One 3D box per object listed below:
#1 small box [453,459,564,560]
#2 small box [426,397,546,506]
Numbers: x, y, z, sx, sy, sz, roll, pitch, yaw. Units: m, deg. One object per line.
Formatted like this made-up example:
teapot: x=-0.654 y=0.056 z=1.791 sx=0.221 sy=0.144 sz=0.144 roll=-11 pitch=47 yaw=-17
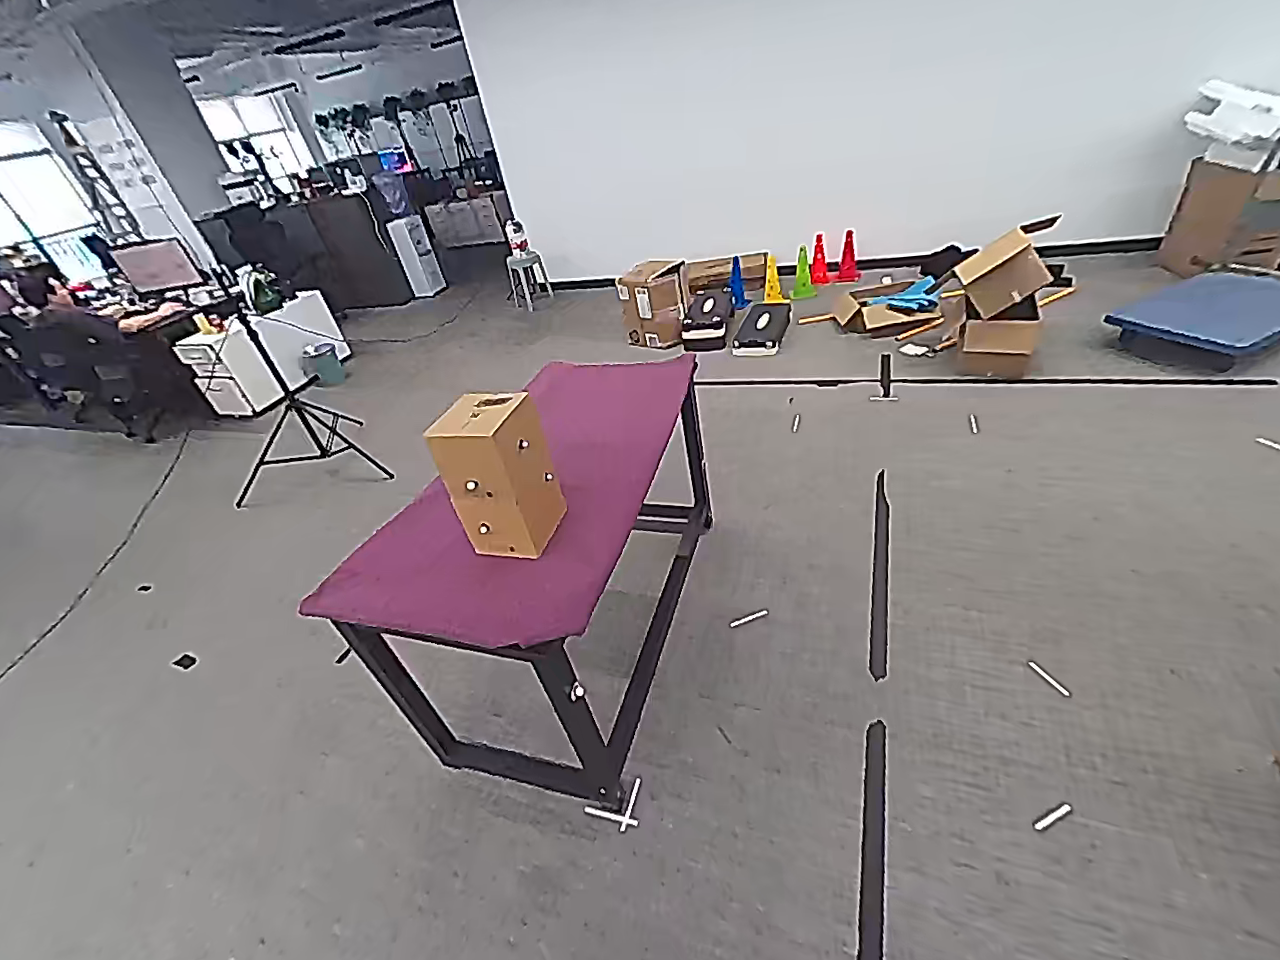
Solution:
small box: x=-0.294 y=0.068 z=1.257 sx=0.168 sy=0.176 sz=0.179 roll=1 pitch=37 yaw=18
small box: x=-0.317 y=-0.064 z=1.162 sx=0.168 sy=0.176 sz=0.179 roll=1 pitch=38 yaw=19
